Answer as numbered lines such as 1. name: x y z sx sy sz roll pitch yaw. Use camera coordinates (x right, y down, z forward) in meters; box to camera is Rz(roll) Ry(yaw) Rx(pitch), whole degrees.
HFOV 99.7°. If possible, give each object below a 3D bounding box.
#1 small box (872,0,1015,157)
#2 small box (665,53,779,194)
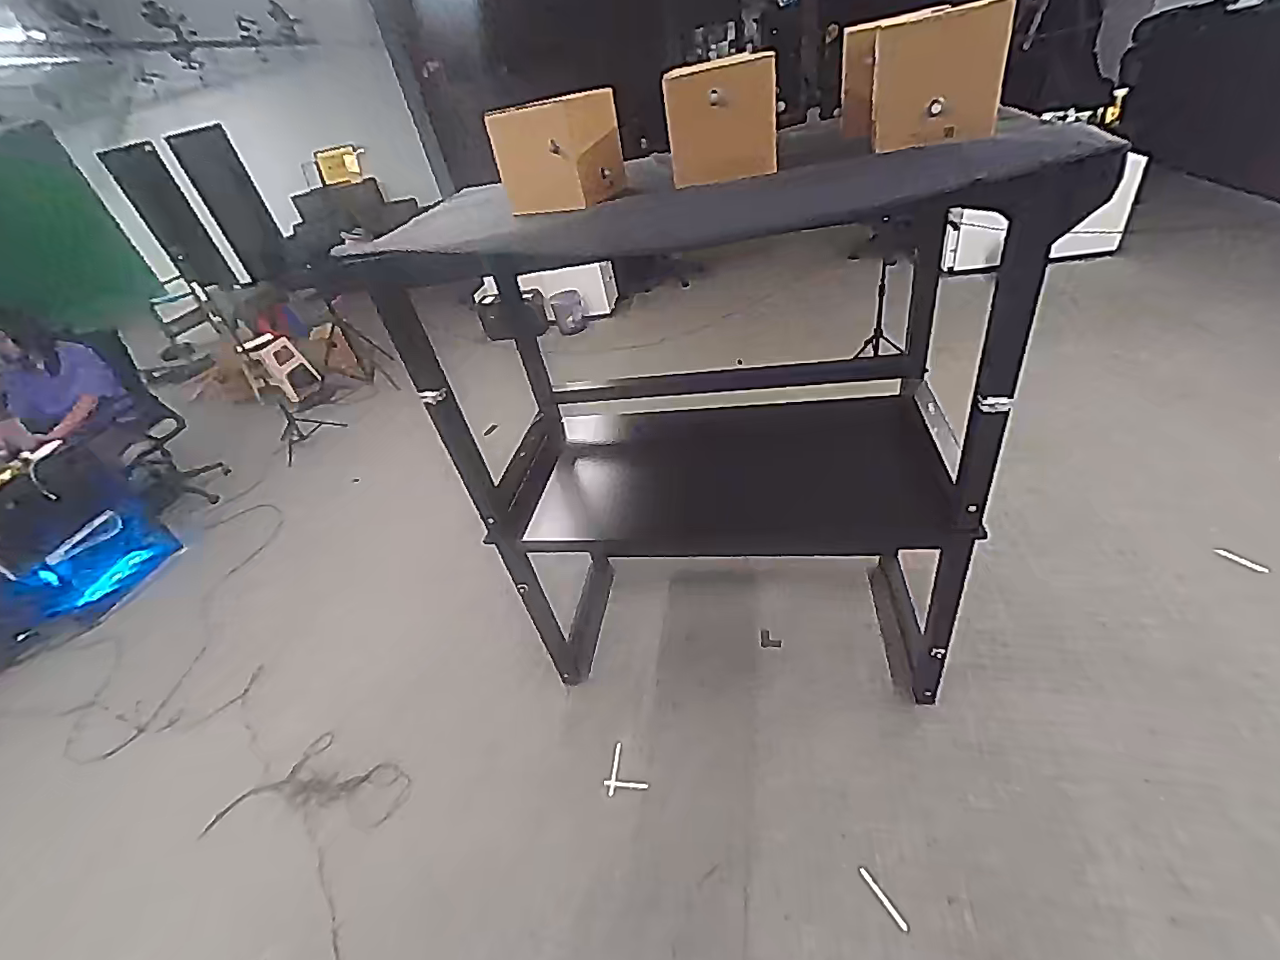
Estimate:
1. small box: 0.464 -0.628 0.856 0.168 0.176 0.179 2 40 20
2. small box: 0.152 -0.620 0.945 0.179 0.176 0.168 -3 38 14
